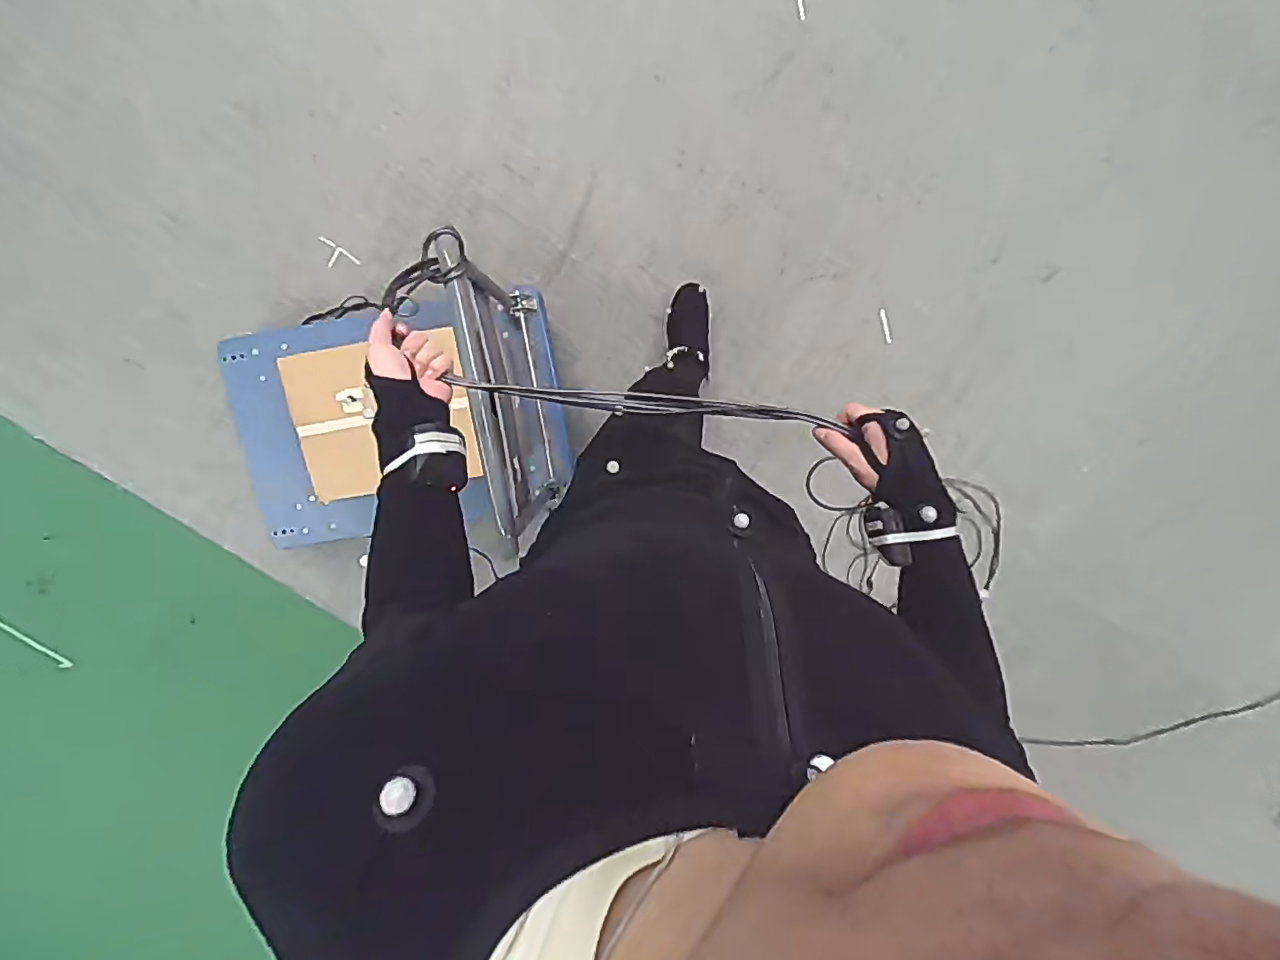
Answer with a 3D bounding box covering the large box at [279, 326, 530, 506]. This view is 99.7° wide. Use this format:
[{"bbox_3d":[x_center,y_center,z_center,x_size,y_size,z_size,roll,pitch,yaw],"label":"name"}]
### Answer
[{"bbox_3d":[-0.513,-0.153,1.263,0.408,0.320,0.320,-10,99,4],"label":"large box"}]
